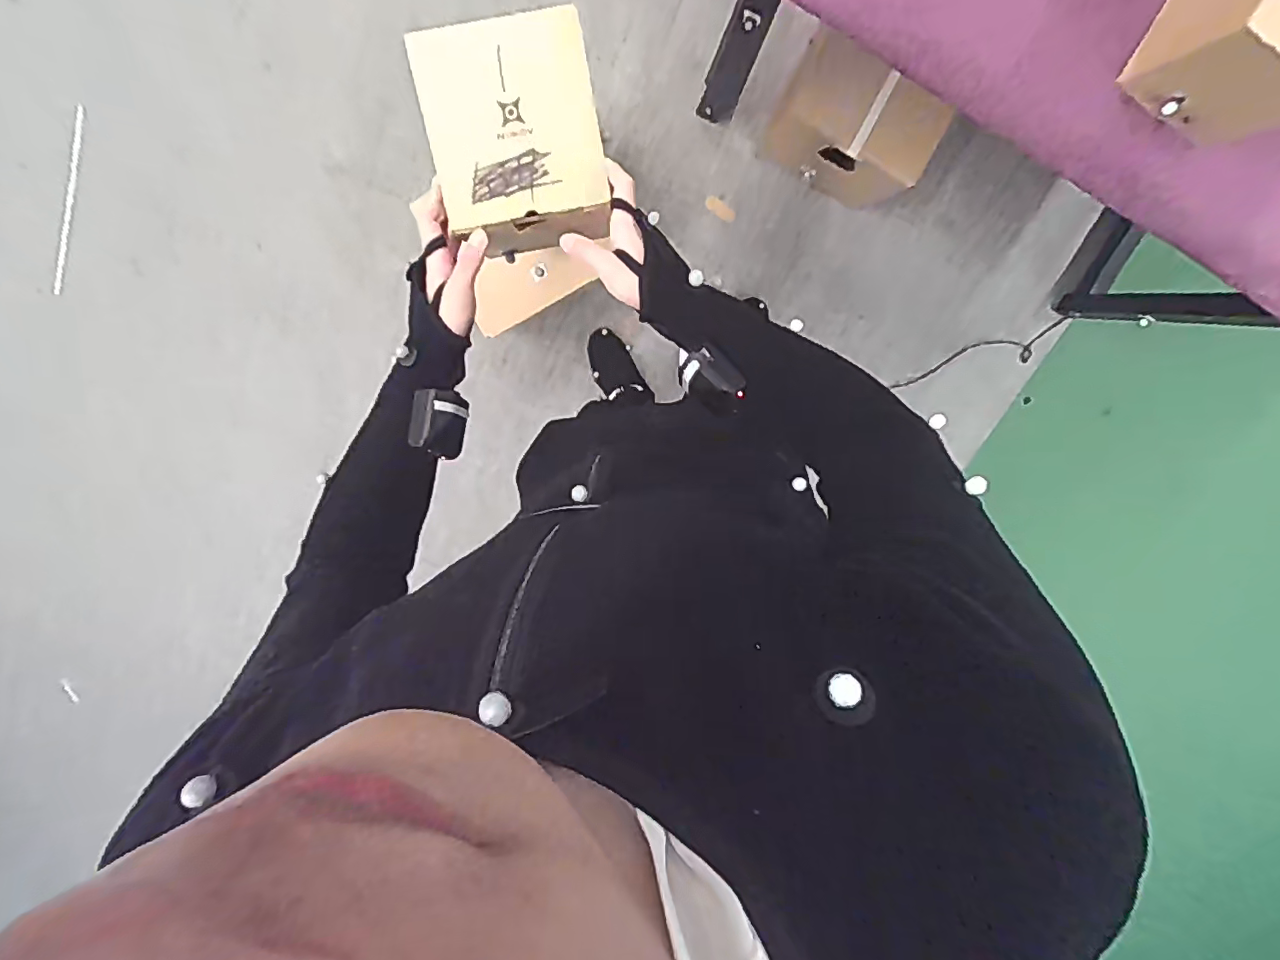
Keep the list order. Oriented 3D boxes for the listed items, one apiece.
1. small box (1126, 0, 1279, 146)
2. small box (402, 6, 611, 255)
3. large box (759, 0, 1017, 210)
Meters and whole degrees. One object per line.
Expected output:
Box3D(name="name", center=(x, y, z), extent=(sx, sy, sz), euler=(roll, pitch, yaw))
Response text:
Box3D(name="small box", center=(0.738, -0.532, 0.624), extent=(0.168, 0.176, 0.179), euler=(26, 105, -9))
Box3D(name="small box", center=(-0.126, -0.354, 0.589), extent=(0.168, 0.176, 0.179), euler=(-11, 104, 0))
Box3D(name="large box", center=(0.516, -0.886, 1.197), extent=(0.320, 0.320, 0.408), euler=(24, 105, -10))
